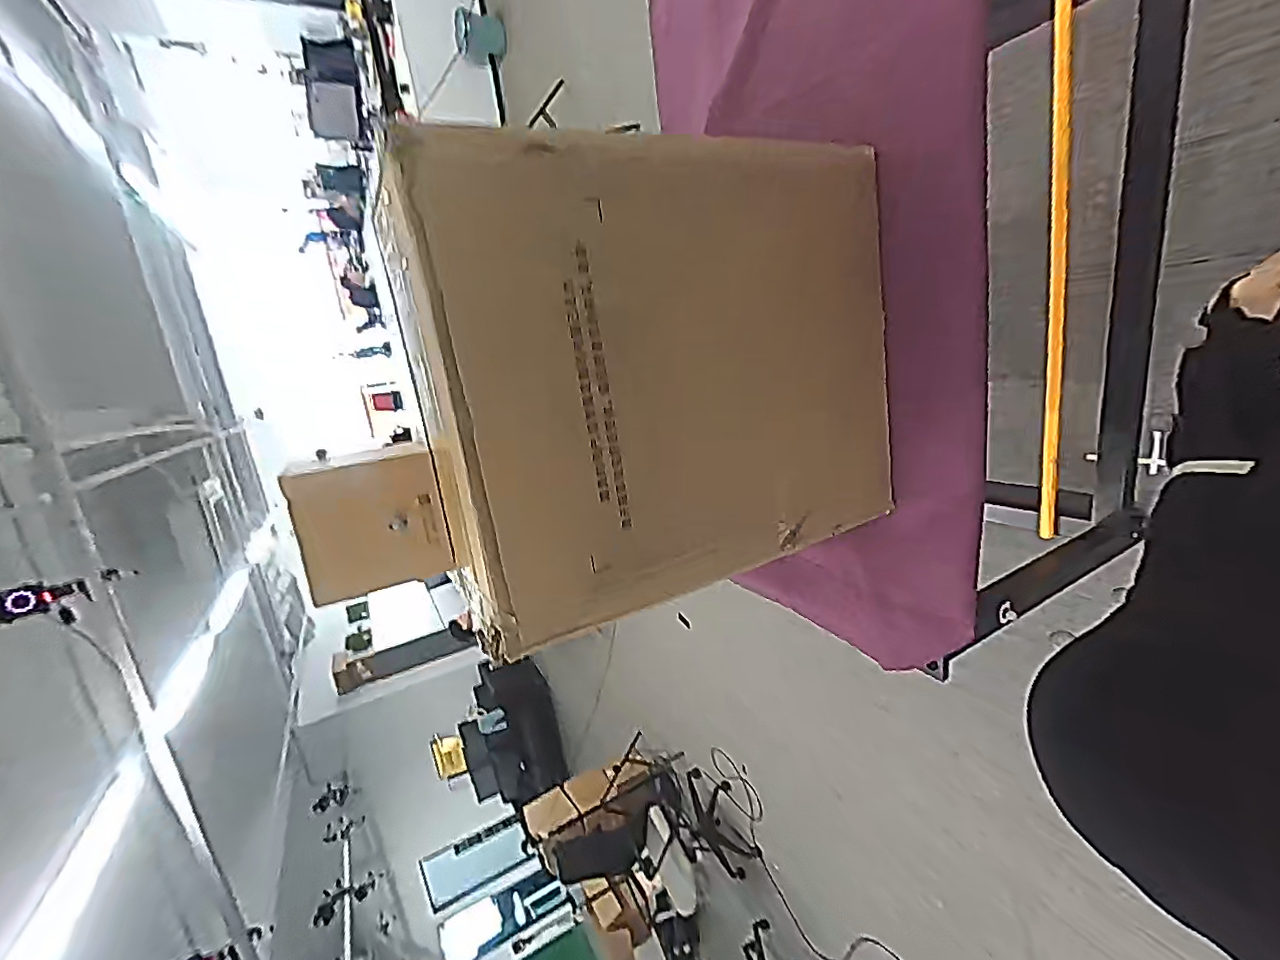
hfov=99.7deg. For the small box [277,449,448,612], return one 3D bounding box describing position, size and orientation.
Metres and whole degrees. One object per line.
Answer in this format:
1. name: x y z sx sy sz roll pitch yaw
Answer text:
1. small box: -0.370 0.055 0.742 0.179 0.176 0.168 14 116 61
